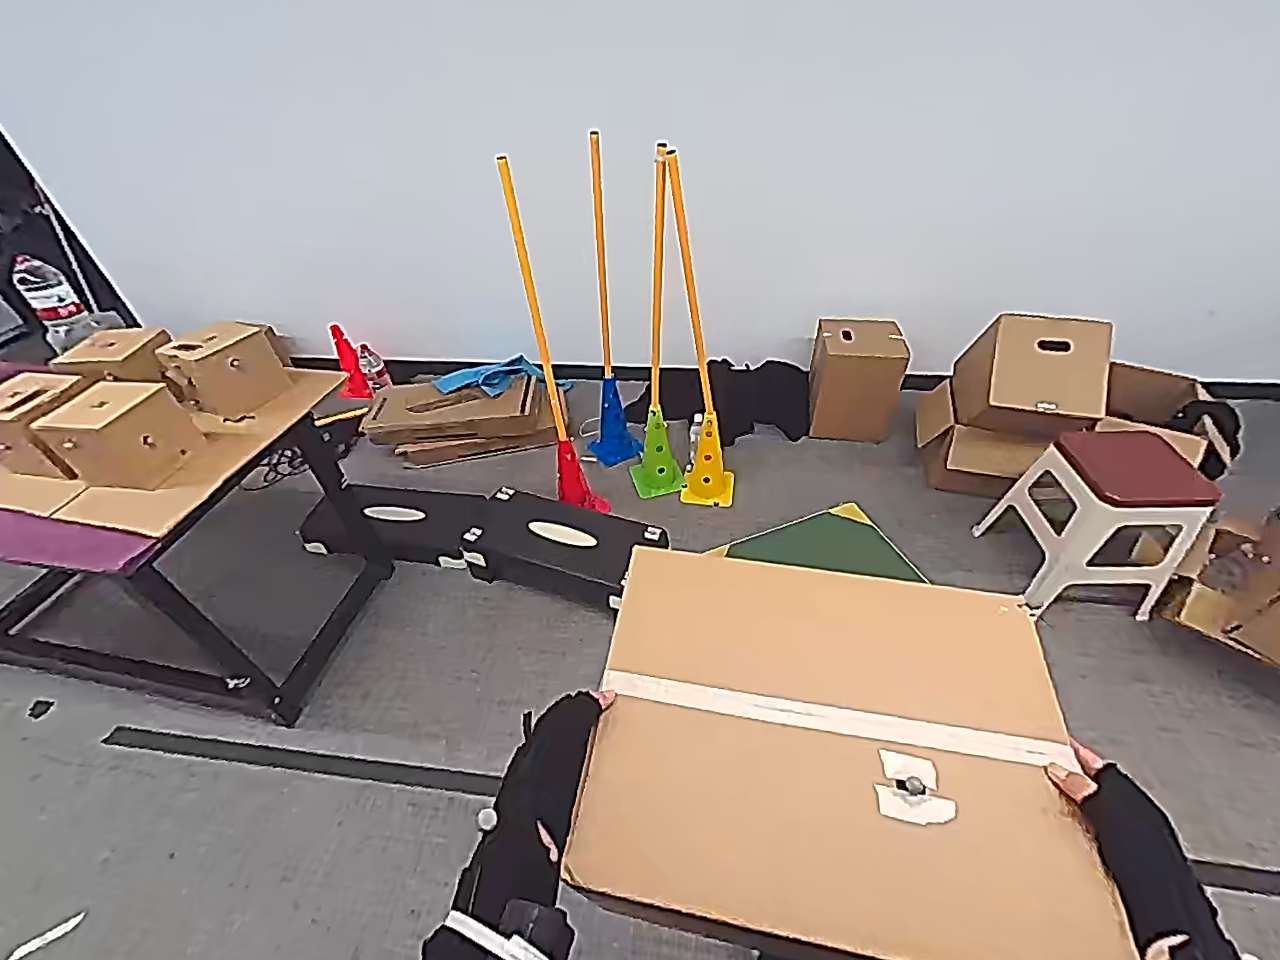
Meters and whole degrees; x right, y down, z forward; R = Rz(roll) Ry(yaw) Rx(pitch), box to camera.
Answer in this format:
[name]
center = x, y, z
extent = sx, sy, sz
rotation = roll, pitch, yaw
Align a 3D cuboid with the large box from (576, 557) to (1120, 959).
[large box]
center = 0.173, 0.319, 0.607
extent = 0.408, 0.320, 0.320
rotation = 7, 50, 9
